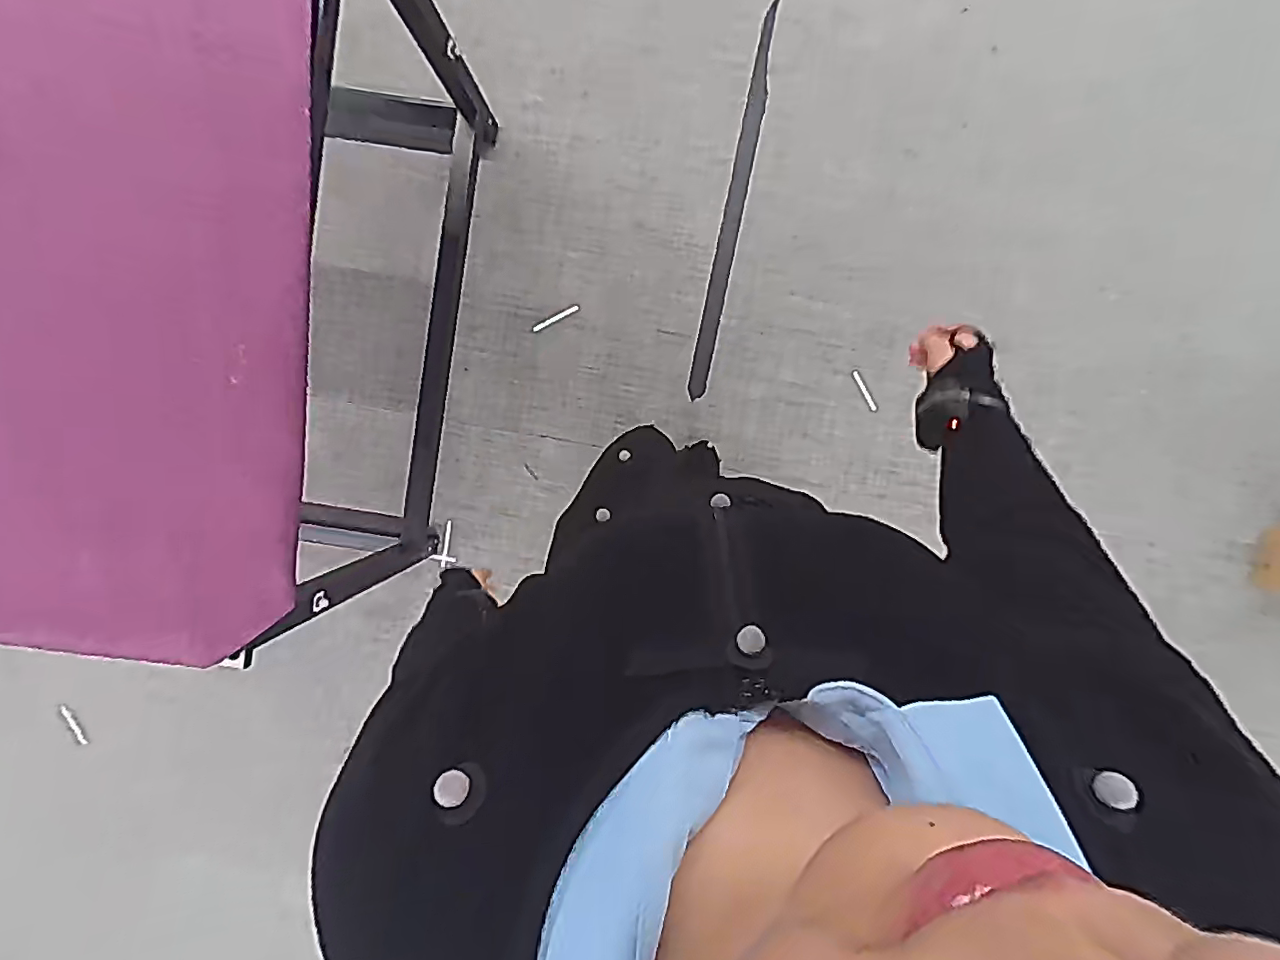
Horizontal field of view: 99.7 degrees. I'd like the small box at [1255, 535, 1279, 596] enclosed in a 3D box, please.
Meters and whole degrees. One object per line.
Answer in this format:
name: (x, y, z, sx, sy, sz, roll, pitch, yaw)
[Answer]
small box: (1.747, 0.238, 1.369, 0.179, 0.176, 0.168, 13, 94, 1)
